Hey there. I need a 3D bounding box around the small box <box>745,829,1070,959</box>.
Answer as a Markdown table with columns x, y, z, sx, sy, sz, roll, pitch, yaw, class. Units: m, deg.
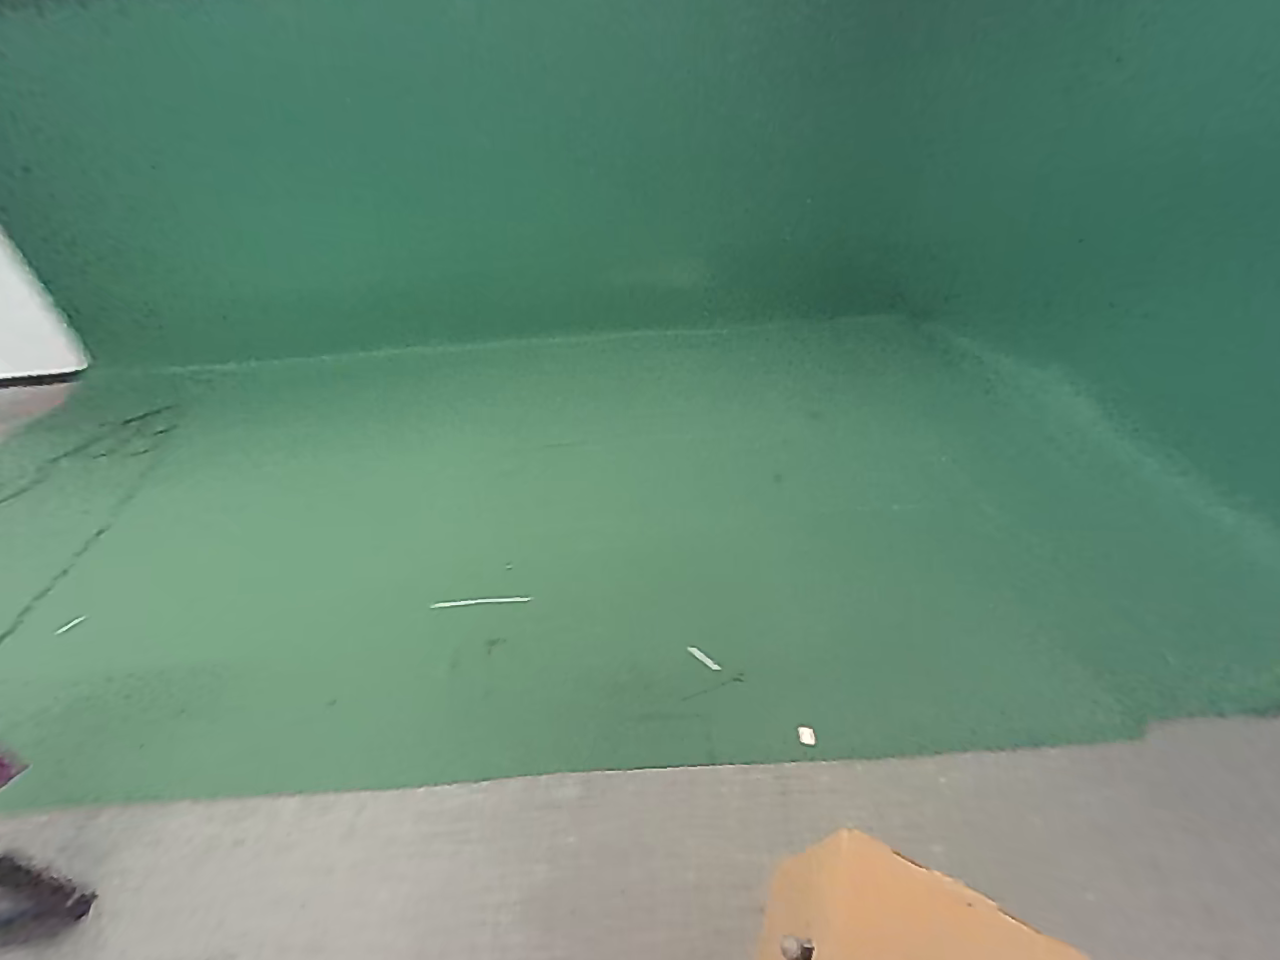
| x | y | z | sx | sy | sz | roll | pitch | yaw | class |
| --- | --- | --- | --- | --- | --- | --- | --- | --- | --- |
| 0.168 | 0.392 | 0.377 | 0.168 | 0.176 | 0.179 | 24 | 47 | 11 | small box |
